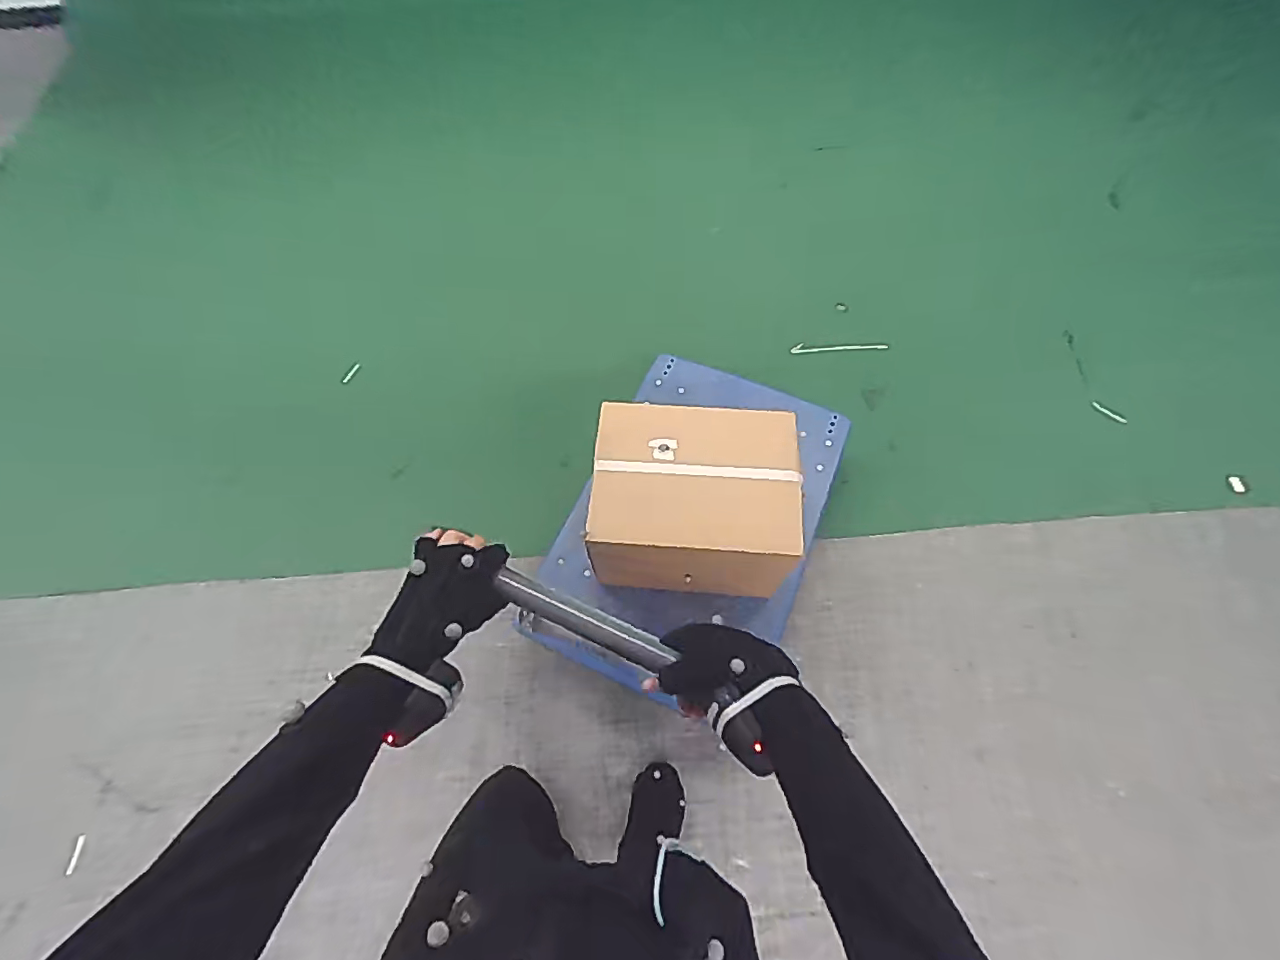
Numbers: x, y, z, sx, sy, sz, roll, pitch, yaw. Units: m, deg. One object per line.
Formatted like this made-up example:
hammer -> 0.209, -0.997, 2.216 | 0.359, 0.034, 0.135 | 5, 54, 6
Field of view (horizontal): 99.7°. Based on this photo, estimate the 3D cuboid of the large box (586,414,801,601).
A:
large box -> 0.115, 0.072, 1.194 | 0.408, 0.320, 0.320 | 3, 63, 4
